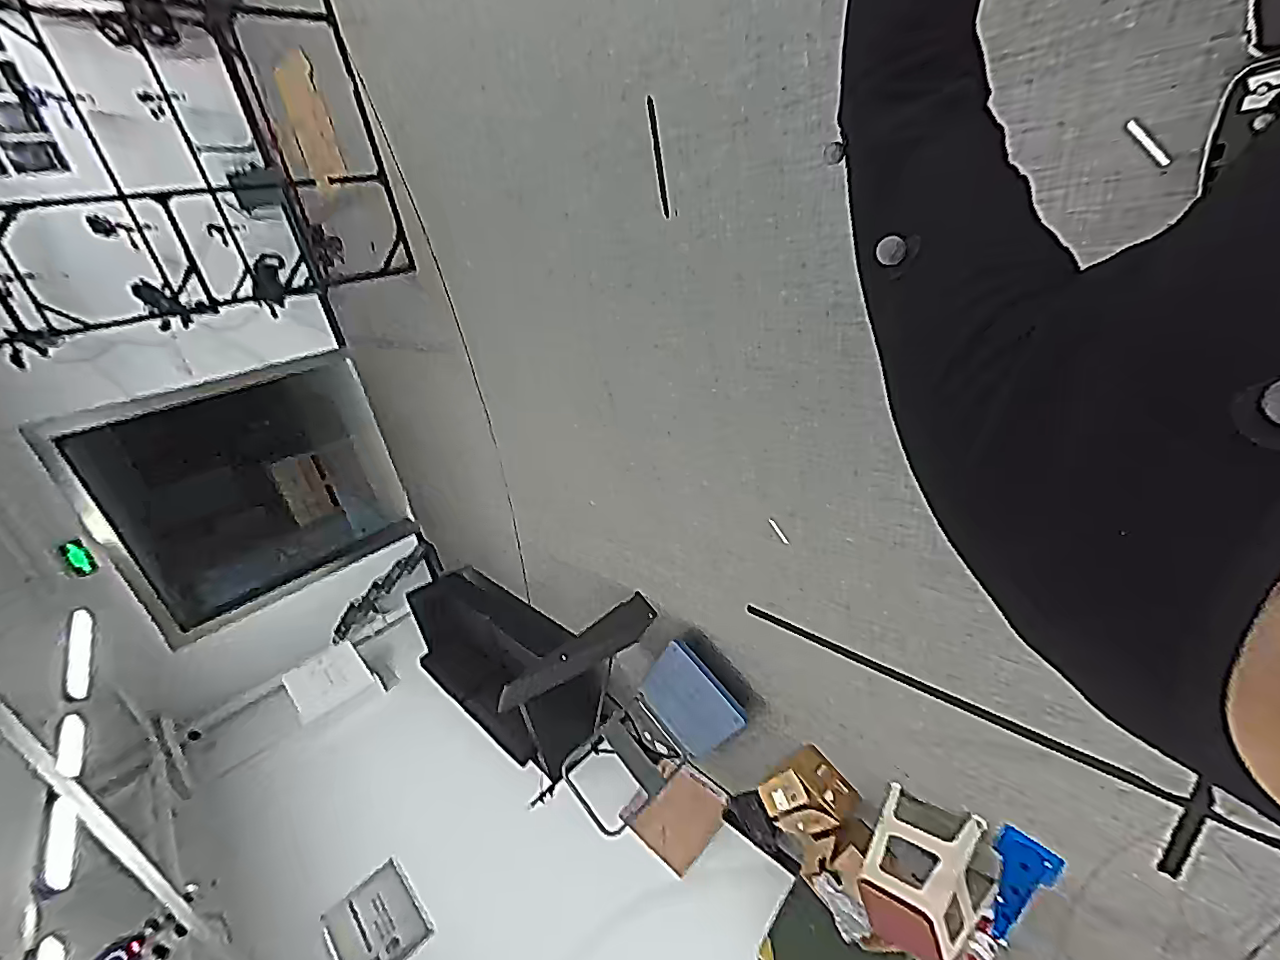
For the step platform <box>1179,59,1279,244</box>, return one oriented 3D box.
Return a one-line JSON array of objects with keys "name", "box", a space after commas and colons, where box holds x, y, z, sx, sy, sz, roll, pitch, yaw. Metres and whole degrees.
[{"name": "step platform", "box": [1.281, -0.545, 0.799, 0.684, 0.204, 0.286, 15, 125, 47]}]
